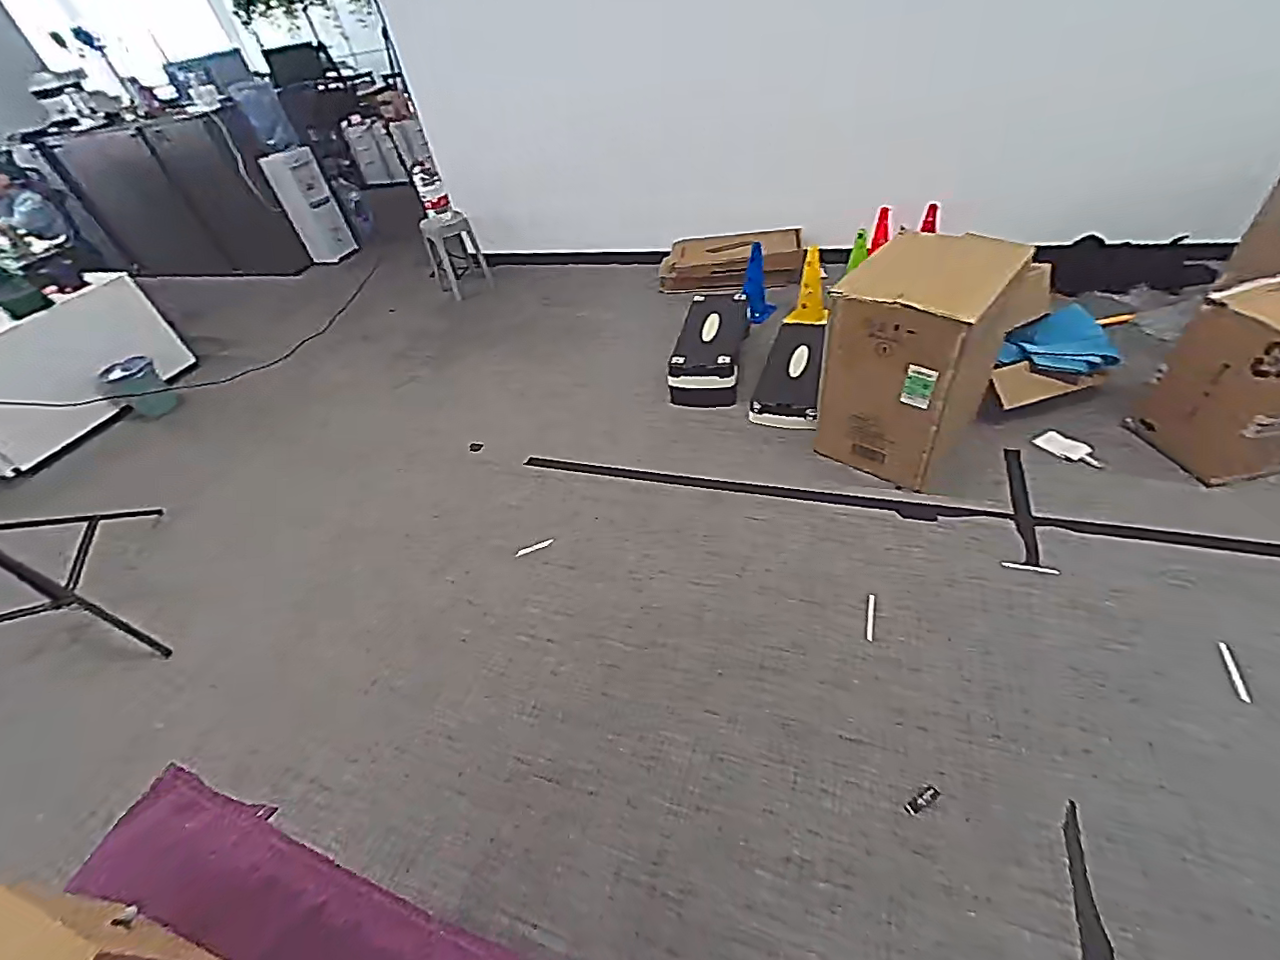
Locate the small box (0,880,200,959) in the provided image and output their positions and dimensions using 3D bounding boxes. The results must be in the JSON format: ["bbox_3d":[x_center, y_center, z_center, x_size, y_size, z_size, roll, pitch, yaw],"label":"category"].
[{"bbox_3d":[-0.524,0.481,0.455,0.168,0.176,0.179,9,47,18],"label":"small box"}]
